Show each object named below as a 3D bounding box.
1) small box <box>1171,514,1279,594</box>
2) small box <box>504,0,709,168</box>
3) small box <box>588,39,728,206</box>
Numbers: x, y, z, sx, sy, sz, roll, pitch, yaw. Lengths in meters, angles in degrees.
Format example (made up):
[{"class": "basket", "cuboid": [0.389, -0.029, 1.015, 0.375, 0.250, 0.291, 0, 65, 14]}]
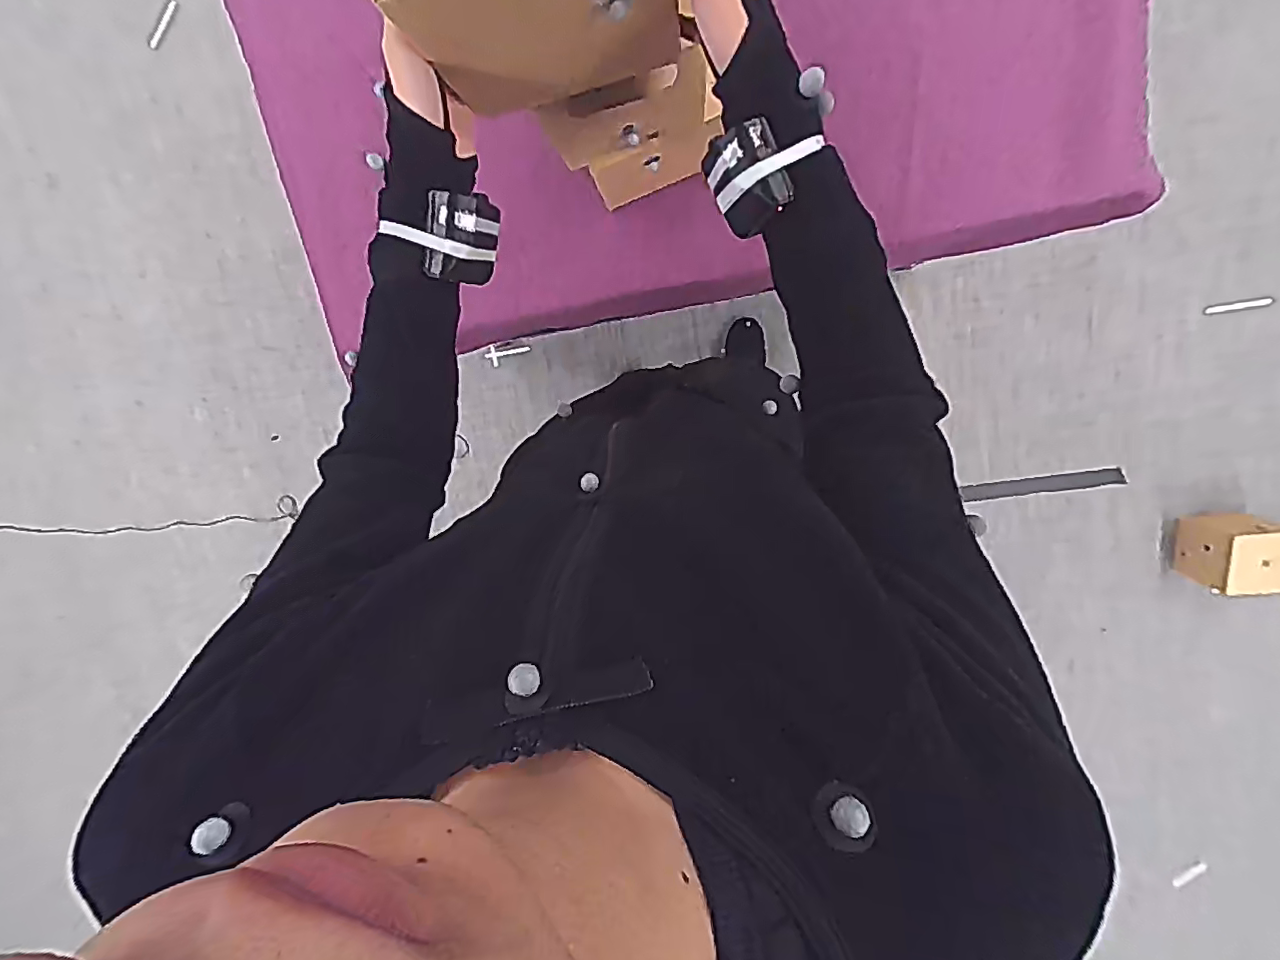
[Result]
[{"class": "small box", "cuboid": [1.606, 0.197, 1.466, 0.179, 0.176, 0.168, -5, 103, 6]}, {"class": "small box", "cuboid": [-0.033, -0.449, 0.536, 0.168, 0.176, 0.179, -14, 101, 8]}, {"class": "small box", "cuboid": [0.002, -0.482, 0.695, 0.179, 0.176, 0.168, -19, 100, 8]}]
